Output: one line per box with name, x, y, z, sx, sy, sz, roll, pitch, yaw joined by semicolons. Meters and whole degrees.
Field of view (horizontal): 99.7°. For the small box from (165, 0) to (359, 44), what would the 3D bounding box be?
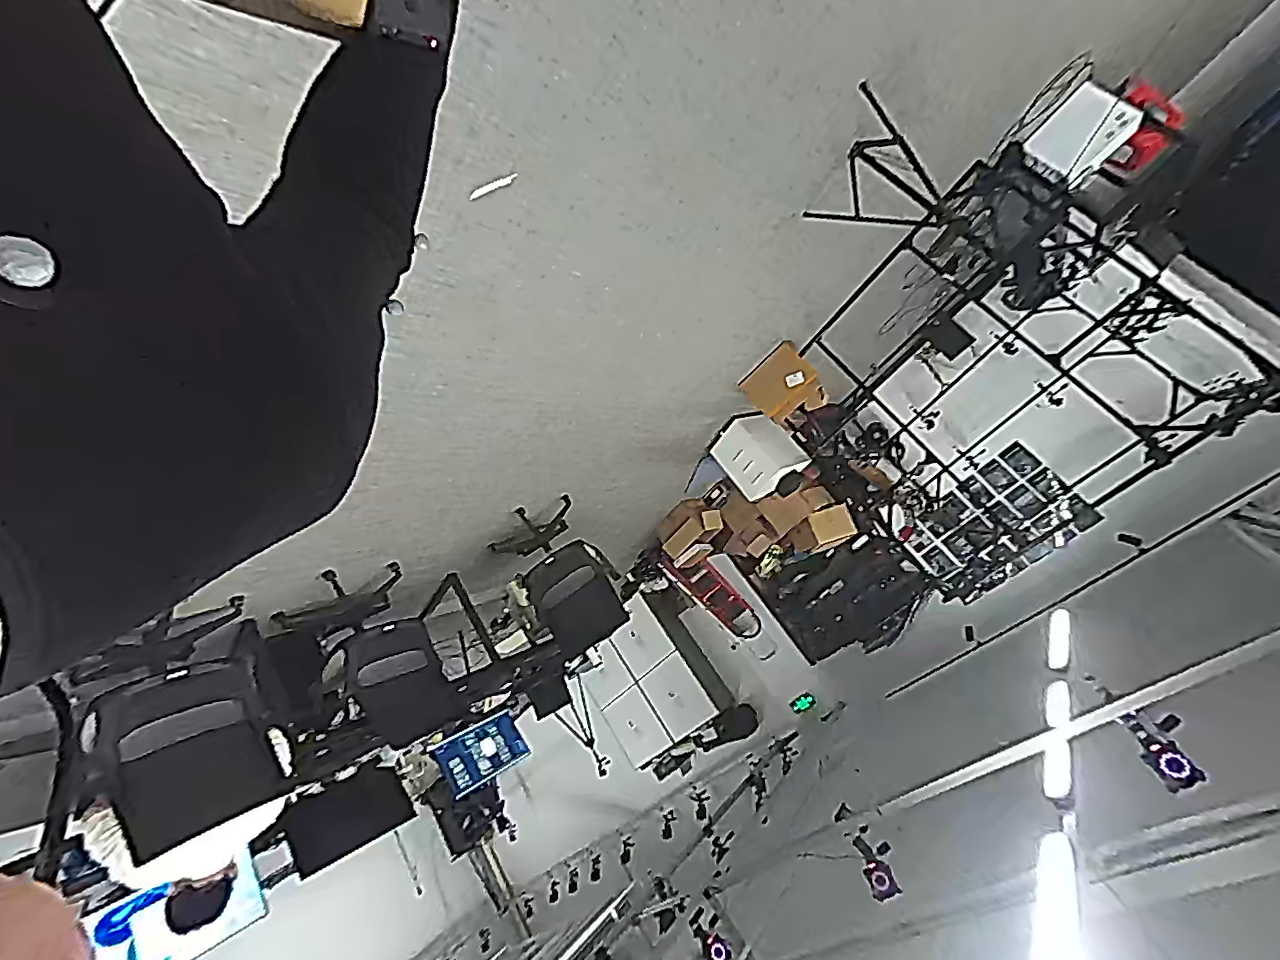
small box;-0.261;-0.405;0.316;0.179;0.176;0.168;-5;101;-31
